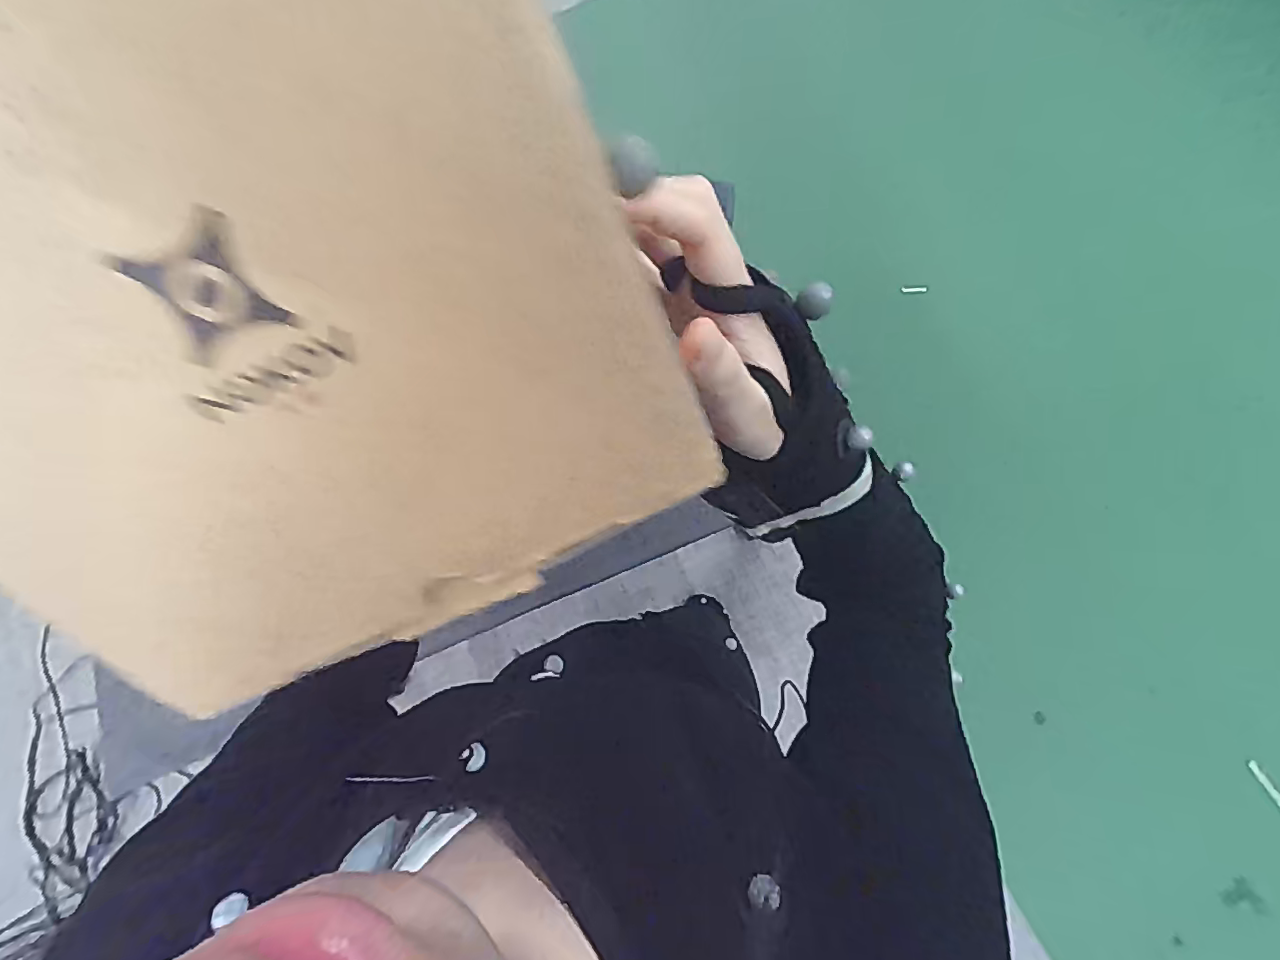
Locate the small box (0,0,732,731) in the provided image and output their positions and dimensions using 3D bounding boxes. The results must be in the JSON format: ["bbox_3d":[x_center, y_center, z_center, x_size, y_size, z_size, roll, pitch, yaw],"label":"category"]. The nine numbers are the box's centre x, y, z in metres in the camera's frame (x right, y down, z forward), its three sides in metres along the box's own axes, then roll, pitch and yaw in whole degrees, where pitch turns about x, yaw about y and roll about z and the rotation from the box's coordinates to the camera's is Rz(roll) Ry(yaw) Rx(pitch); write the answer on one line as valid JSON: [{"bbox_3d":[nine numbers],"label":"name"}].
[{"bbox_3d":[-0.092,-0.059,0.190,0.168,0.179,0.176,-24,33,1],"label":"small box"}]
